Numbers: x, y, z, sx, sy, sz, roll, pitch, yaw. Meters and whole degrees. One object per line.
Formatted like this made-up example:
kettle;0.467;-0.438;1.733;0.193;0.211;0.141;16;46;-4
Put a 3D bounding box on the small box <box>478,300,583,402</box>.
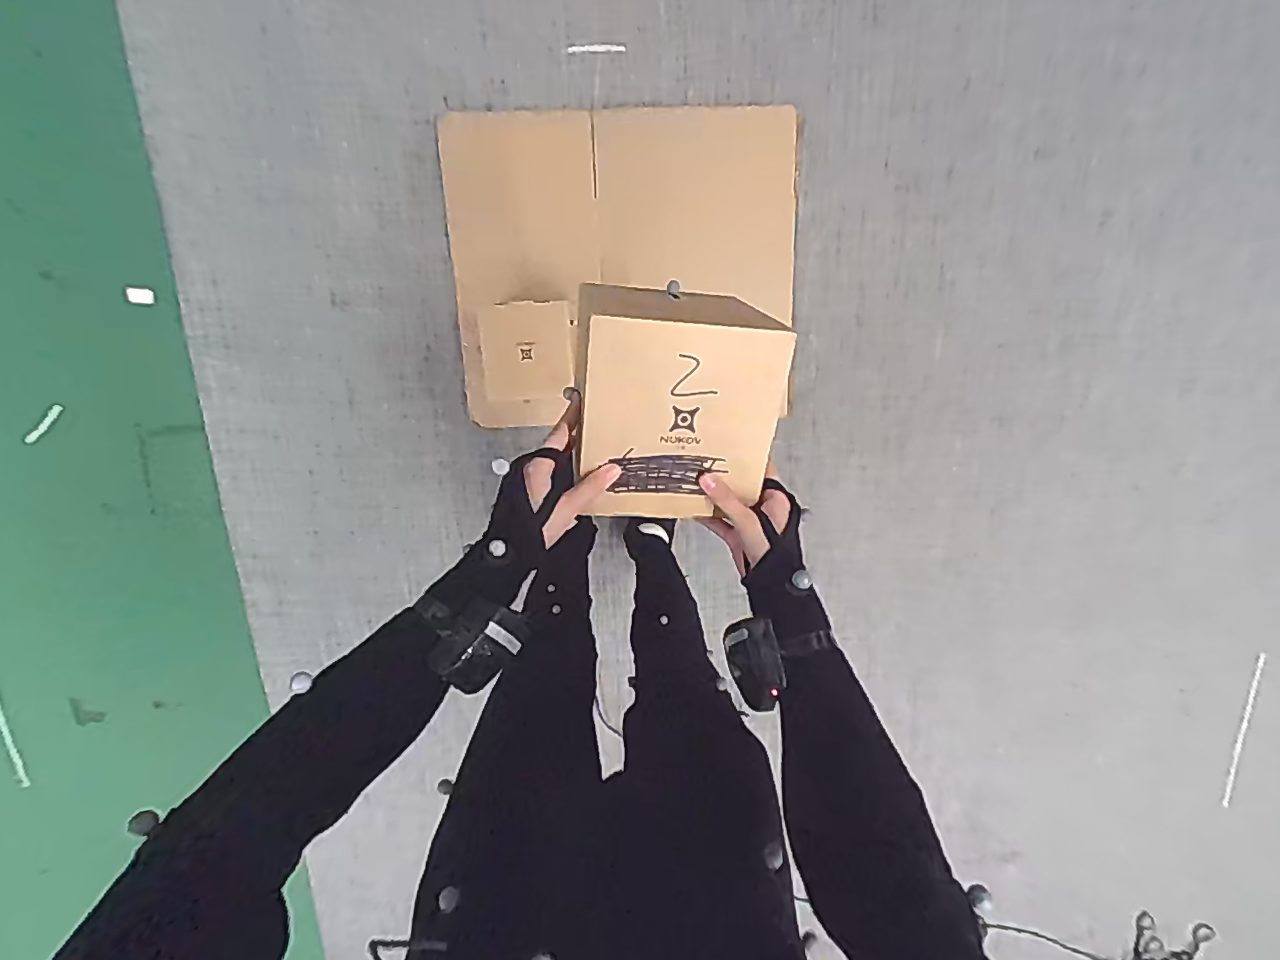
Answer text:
small box;-0.205;-0.252;1.059;0.168;0.176;0.179;-4;103;-1
